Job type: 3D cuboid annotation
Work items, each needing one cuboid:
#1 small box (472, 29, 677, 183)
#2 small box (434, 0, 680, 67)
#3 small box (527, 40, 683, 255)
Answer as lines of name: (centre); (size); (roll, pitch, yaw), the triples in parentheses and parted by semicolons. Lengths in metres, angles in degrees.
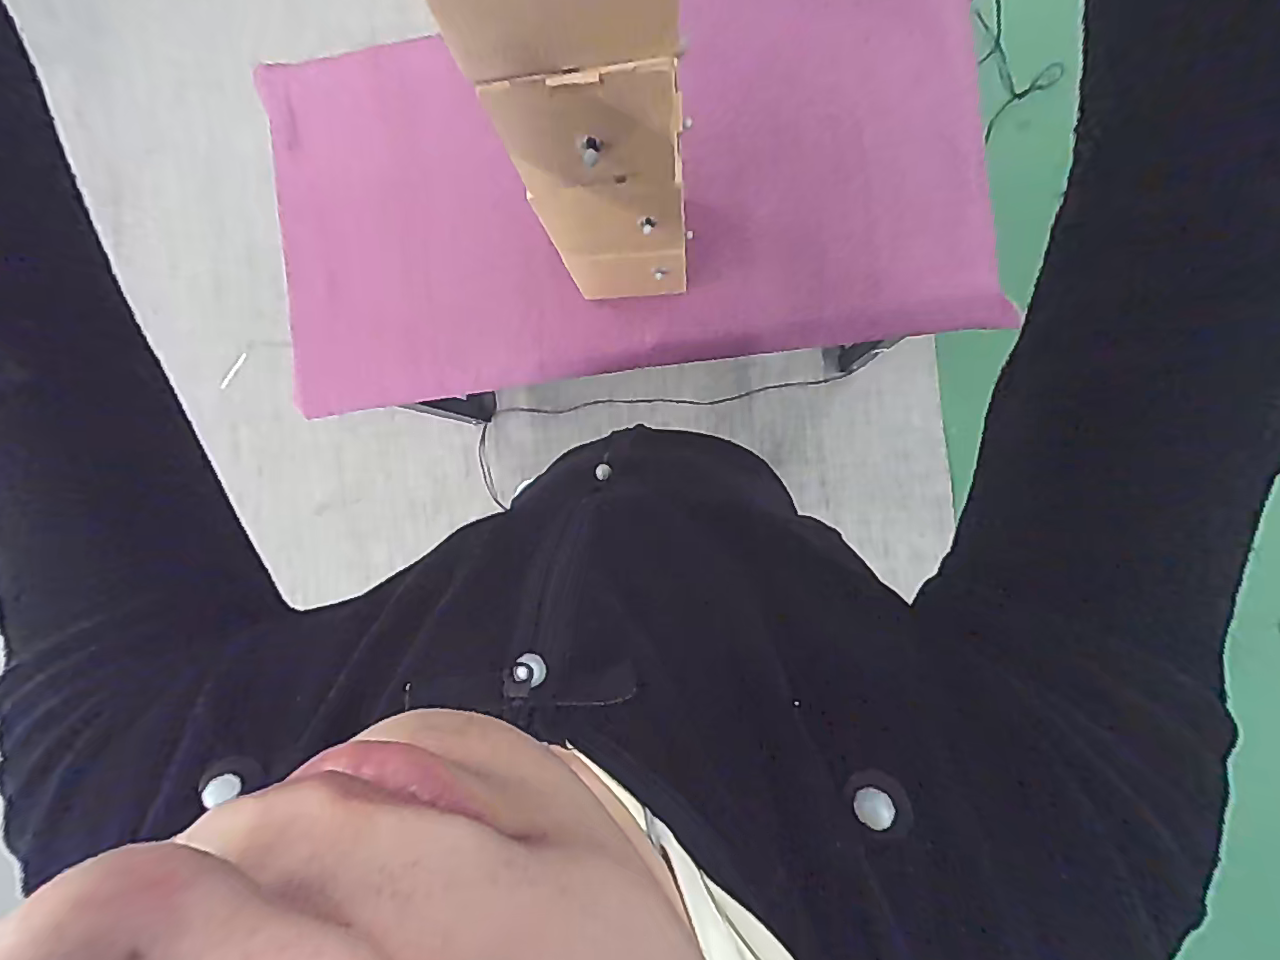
small box: (-0.051, -0.409, 0.516); (0.168, 0.176, 0.179); (-2, 89, 5)
small box: (-0.067, -0.414, 0.352); (0.179, 0.176, 0.168); (-4, 88, 5)
small box: (-0.035, -0.400, 0.678); (0.179, 0.176, 0.168); (-2, 89, 6)
